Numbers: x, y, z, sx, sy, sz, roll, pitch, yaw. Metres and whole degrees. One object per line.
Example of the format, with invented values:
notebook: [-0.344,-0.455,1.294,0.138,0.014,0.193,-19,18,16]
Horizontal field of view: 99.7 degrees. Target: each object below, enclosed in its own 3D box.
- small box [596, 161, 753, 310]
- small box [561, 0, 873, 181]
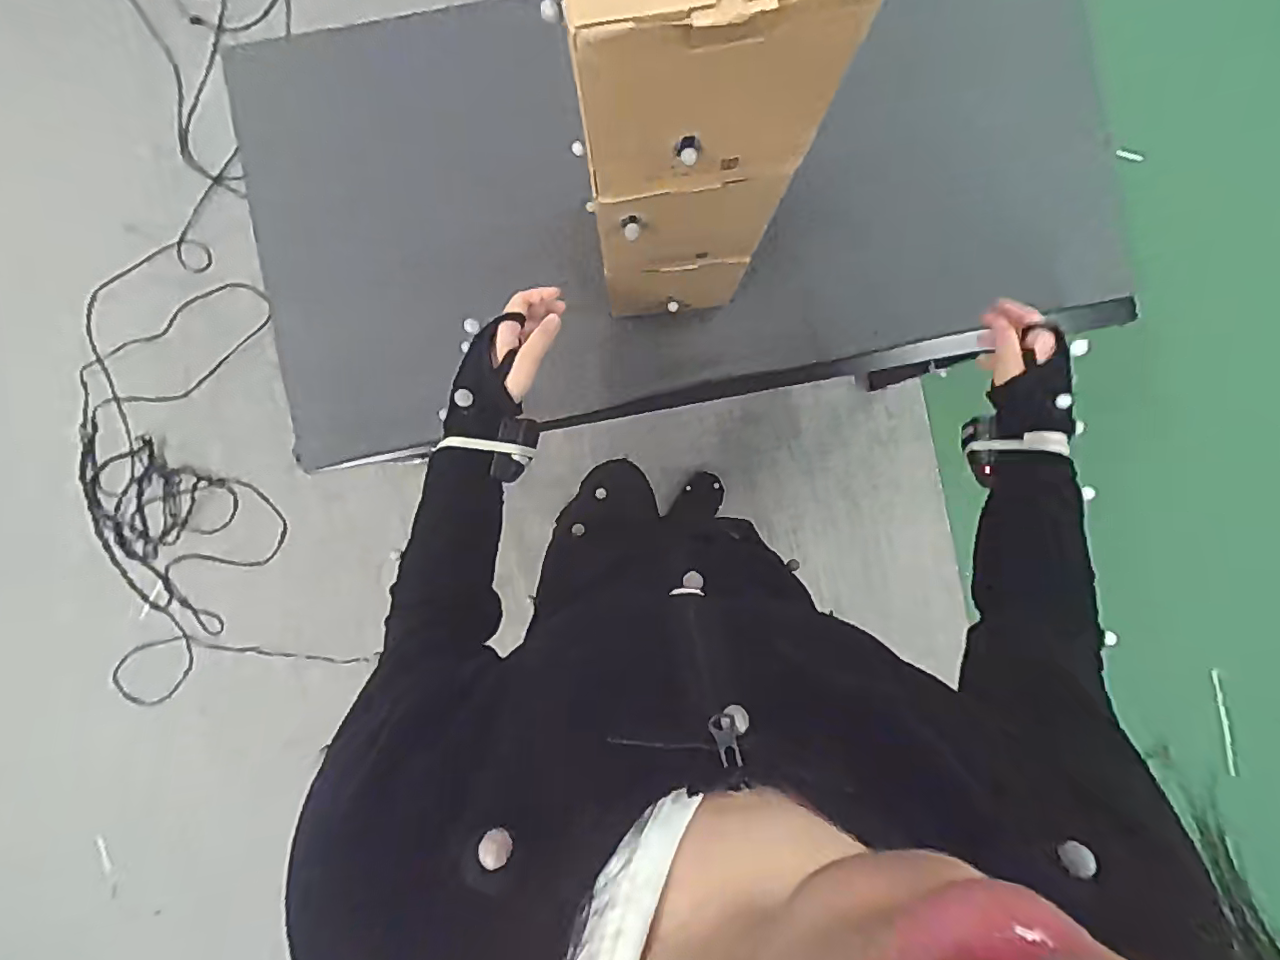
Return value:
small box: [0.034,-0.327,0.665,0.168,0.176,0.179,-6,91,0]
small box: [0.031,-0.328,0.339,0.168,0.176,0.179,-10,90,0]
